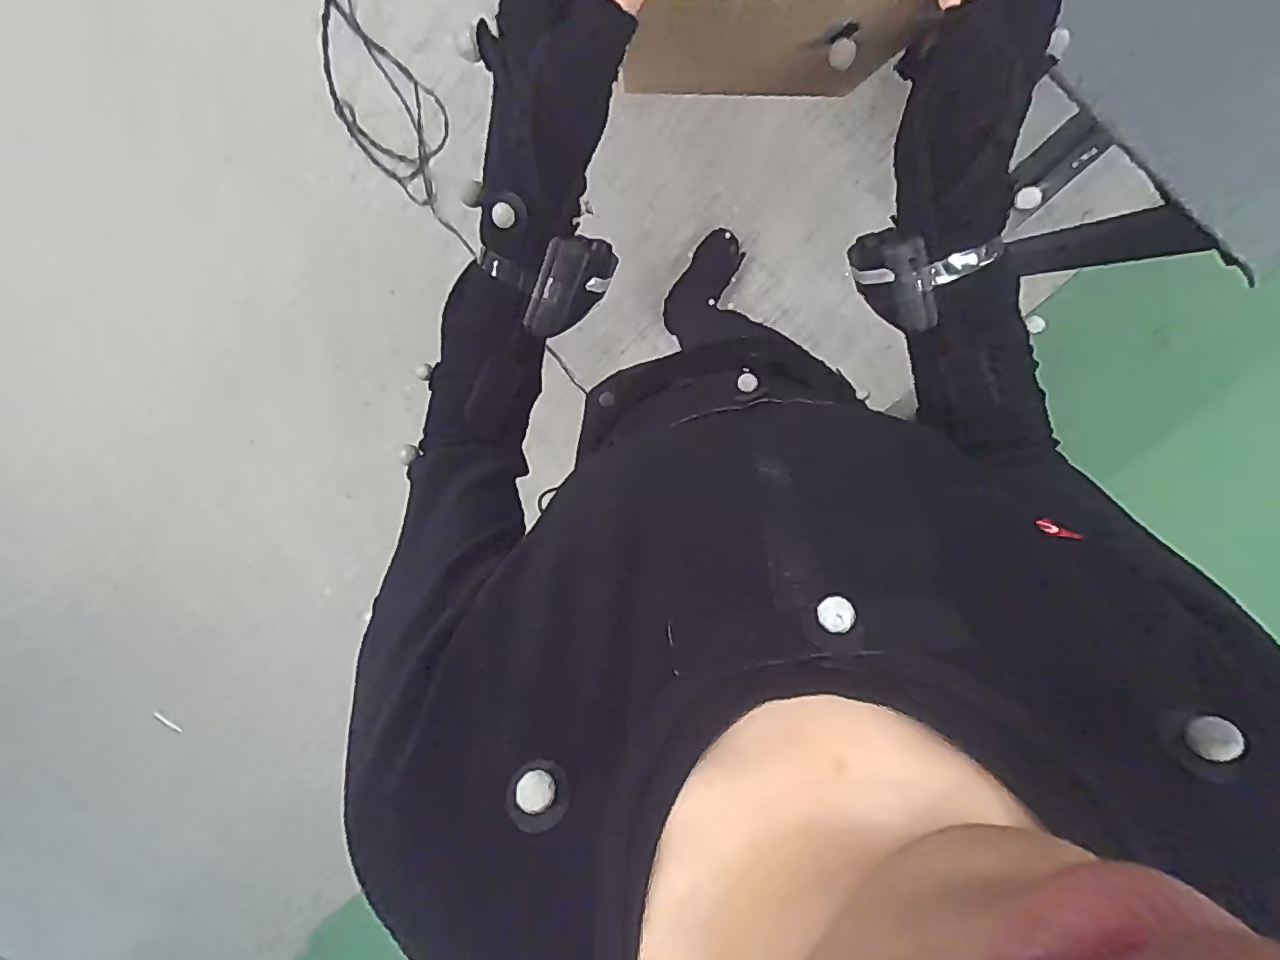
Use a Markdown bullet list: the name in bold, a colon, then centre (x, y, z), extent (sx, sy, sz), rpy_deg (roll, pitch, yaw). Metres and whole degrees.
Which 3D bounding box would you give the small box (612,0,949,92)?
- **small box**: centre (0.074, -0.346, 0.311), extent (0.179, 0.176, 0.168), rpy_deg (2, 111, 0)
